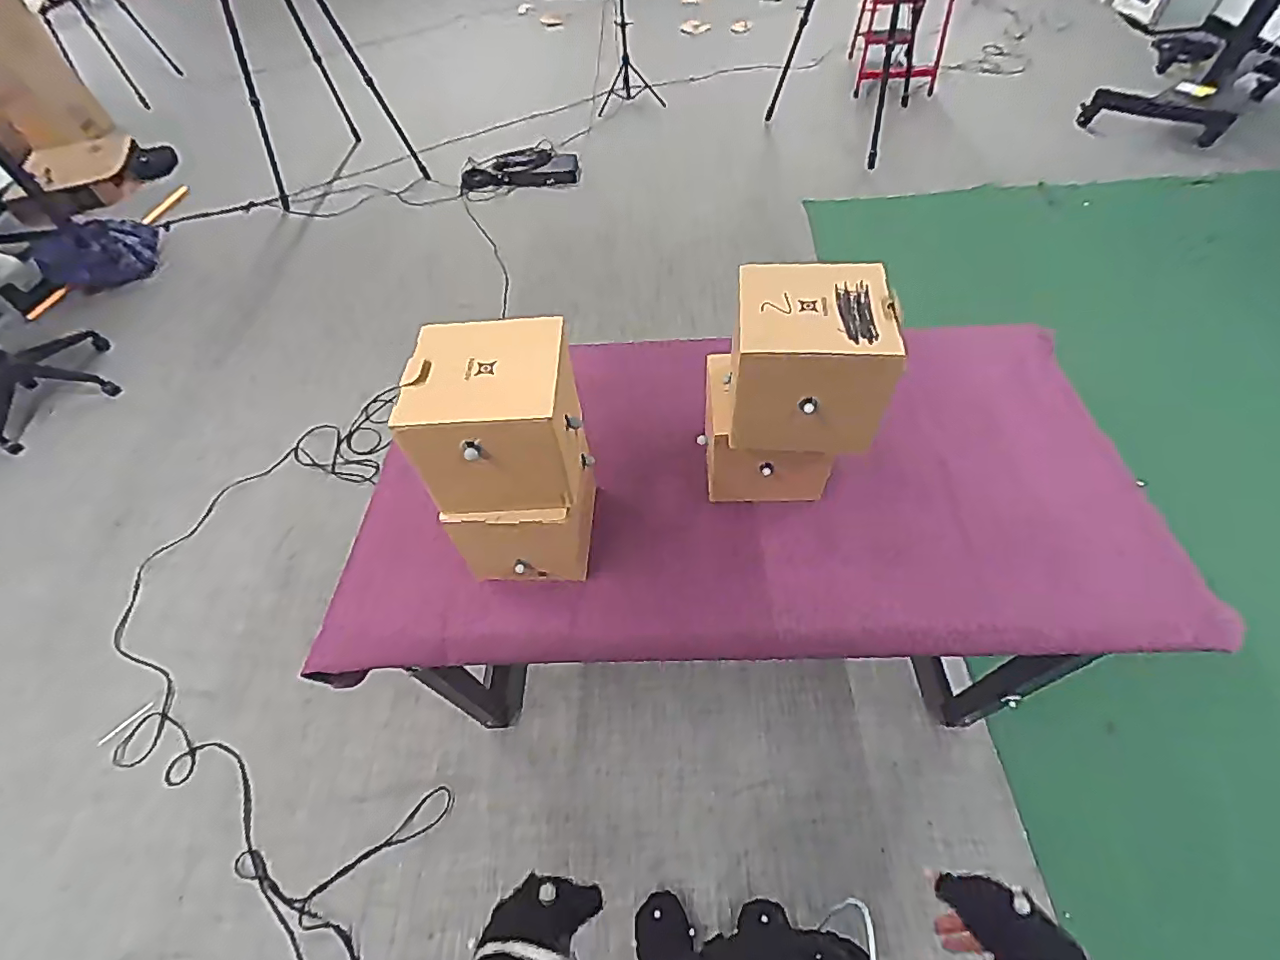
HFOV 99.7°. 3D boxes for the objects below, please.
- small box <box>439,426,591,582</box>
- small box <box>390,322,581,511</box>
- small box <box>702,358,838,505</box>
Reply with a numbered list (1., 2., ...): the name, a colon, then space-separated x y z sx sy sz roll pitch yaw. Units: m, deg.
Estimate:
1. small box: -0.167 0.031 0.793 0.168 0.176 0.179 1 54 4
2. small box: -0.171 -0.073 0.668 0.179 0.176 0.168 -2 54 2
3. small box: 0.190 -0.072 0.846 0.179 0.176 0.168 -1 54 4
